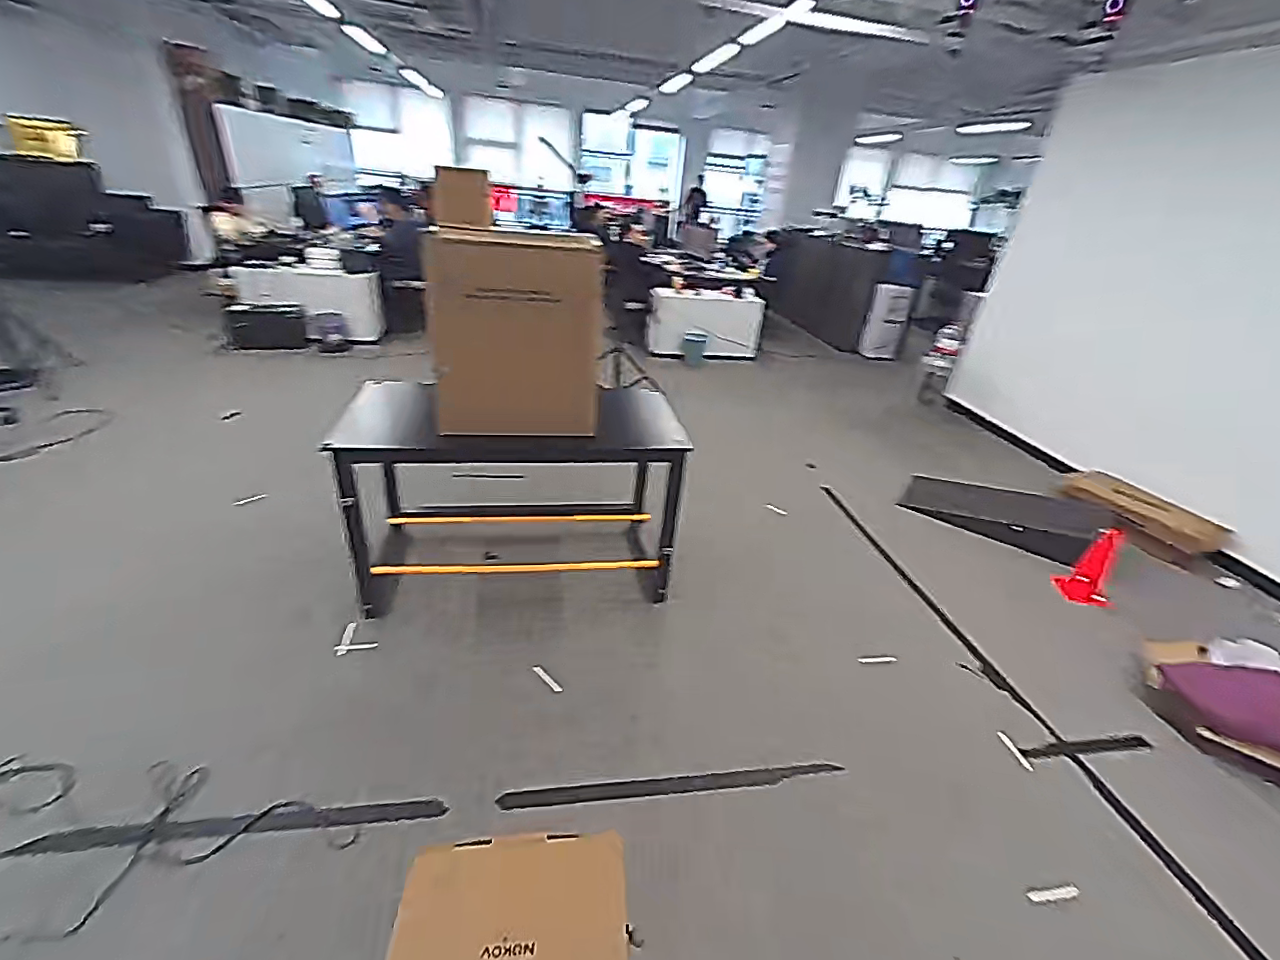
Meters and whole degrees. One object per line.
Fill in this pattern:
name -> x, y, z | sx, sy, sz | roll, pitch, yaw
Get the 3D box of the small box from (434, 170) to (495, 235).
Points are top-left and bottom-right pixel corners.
small box -> -0.554, -0.886, 1.727 | 0.168, 0.176, 0.179 | 1, 28, -11

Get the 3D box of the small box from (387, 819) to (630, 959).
small box -> -0.089, 0.395, 0.404 | 0.168, 0.176, 0.179 | -4, 30, -4
